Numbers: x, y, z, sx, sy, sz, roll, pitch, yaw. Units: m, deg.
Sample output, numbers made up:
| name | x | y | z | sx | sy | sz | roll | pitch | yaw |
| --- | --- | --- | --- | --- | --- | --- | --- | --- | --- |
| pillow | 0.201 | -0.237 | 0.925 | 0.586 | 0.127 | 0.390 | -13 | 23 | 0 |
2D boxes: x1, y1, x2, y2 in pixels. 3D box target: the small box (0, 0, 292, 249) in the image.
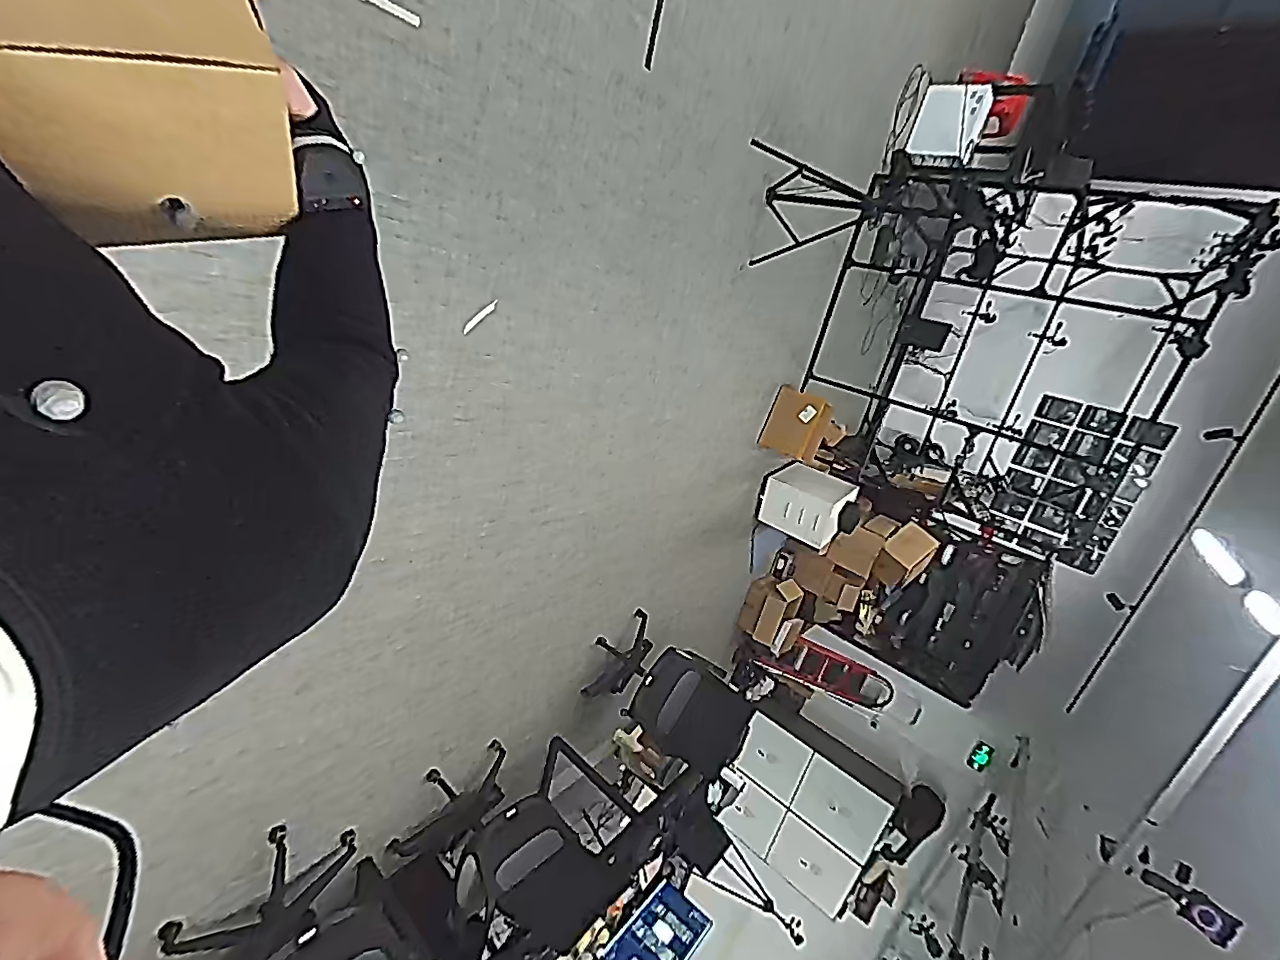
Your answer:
| name | x | y | z | sx | sy | sz | roll | pitch | yaw |
| --- | --- | --- | --- | --- | --- | --- | --- | --- | --- |
| small box | -0.391 | -0.305 | 0.417 | 0.179 | 0.168 | 0.176 | -22 | 173 | -32 |
